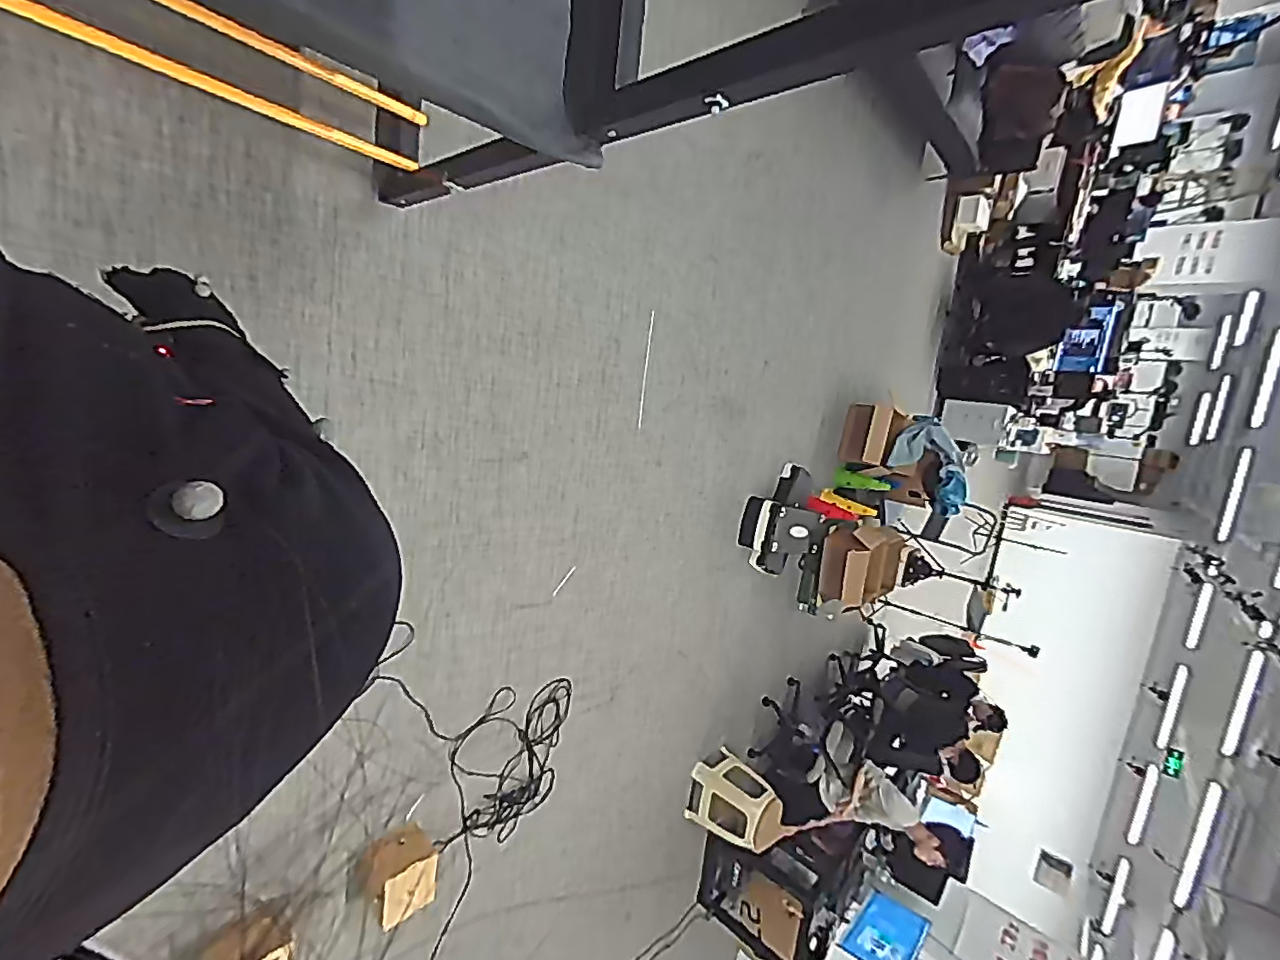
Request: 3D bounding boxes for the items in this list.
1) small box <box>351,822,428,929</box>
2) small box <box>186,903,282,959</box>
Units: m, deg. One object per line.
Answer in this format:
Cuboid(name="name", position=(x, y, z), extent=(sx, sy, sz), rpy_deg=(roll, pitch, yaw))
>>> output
Cuboid(name="small box", position=(-0.792, 1.233, 1.702), extent=(0.168, 0.176, 0.179), rpy_deg=(-3, 103, -49))
Cuboid(name="small box", position=(-1.057, 1.251, 1.398), extent=(0.168, 0.176, 0.179), rpy_deg=(4, 98, -50))
